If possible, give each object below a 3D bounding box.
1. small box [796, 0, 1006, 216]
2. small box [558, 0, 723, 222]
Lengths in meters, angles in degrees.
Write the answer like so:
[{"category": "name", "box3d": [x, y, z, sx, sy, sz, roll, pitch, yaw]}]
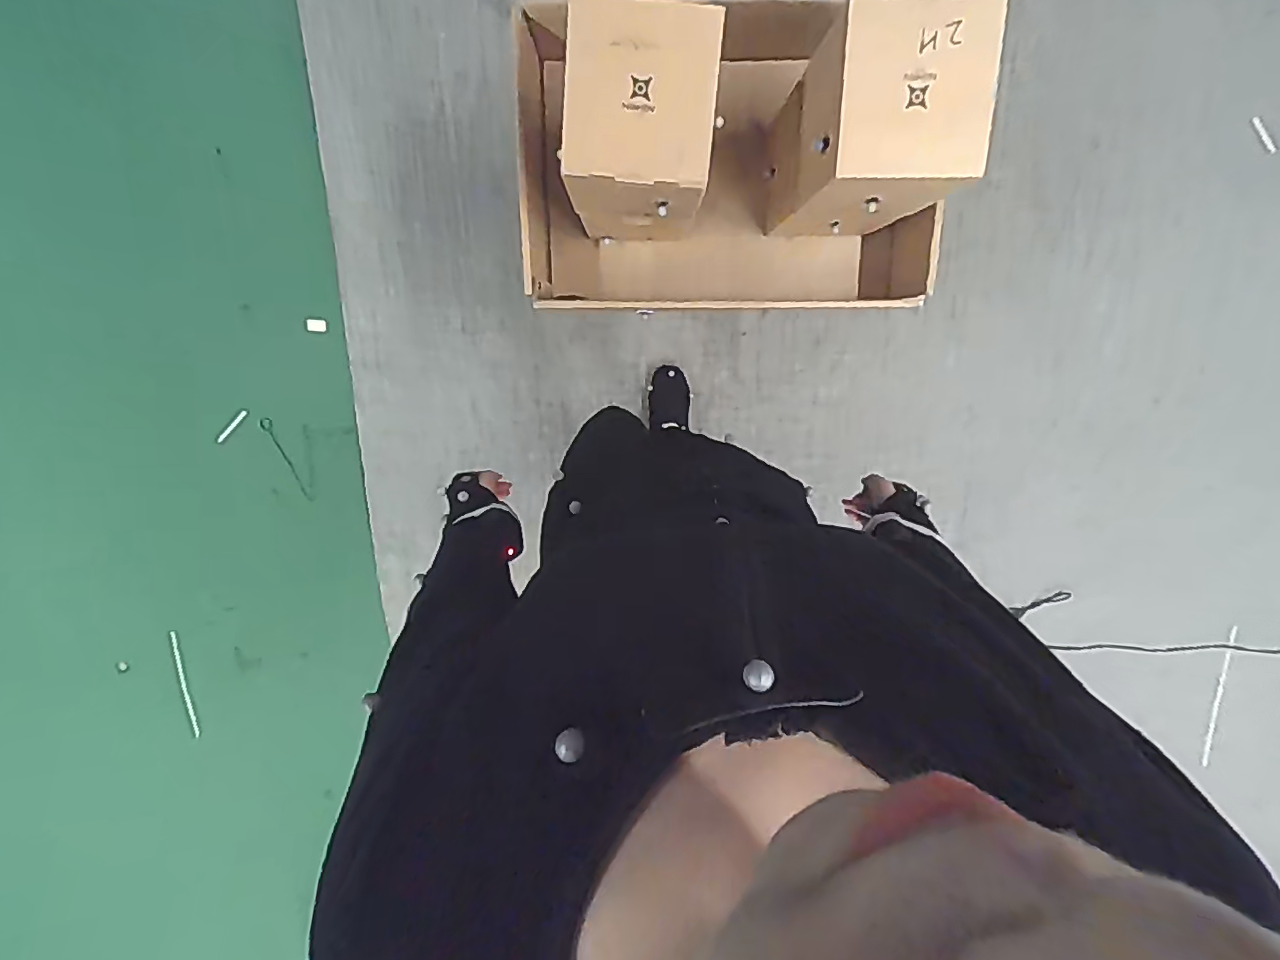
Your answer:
[{"category": "small box", "box3d": [0.295, -0.431, 0.654, 0.168, 0.176, 0.179, 1, 103, 0]}, {"category": "small box", "box3d": [-0.001, -0.431, 0.660, 0.168, 0.176, 0.179, 5, 102, -2]}]
